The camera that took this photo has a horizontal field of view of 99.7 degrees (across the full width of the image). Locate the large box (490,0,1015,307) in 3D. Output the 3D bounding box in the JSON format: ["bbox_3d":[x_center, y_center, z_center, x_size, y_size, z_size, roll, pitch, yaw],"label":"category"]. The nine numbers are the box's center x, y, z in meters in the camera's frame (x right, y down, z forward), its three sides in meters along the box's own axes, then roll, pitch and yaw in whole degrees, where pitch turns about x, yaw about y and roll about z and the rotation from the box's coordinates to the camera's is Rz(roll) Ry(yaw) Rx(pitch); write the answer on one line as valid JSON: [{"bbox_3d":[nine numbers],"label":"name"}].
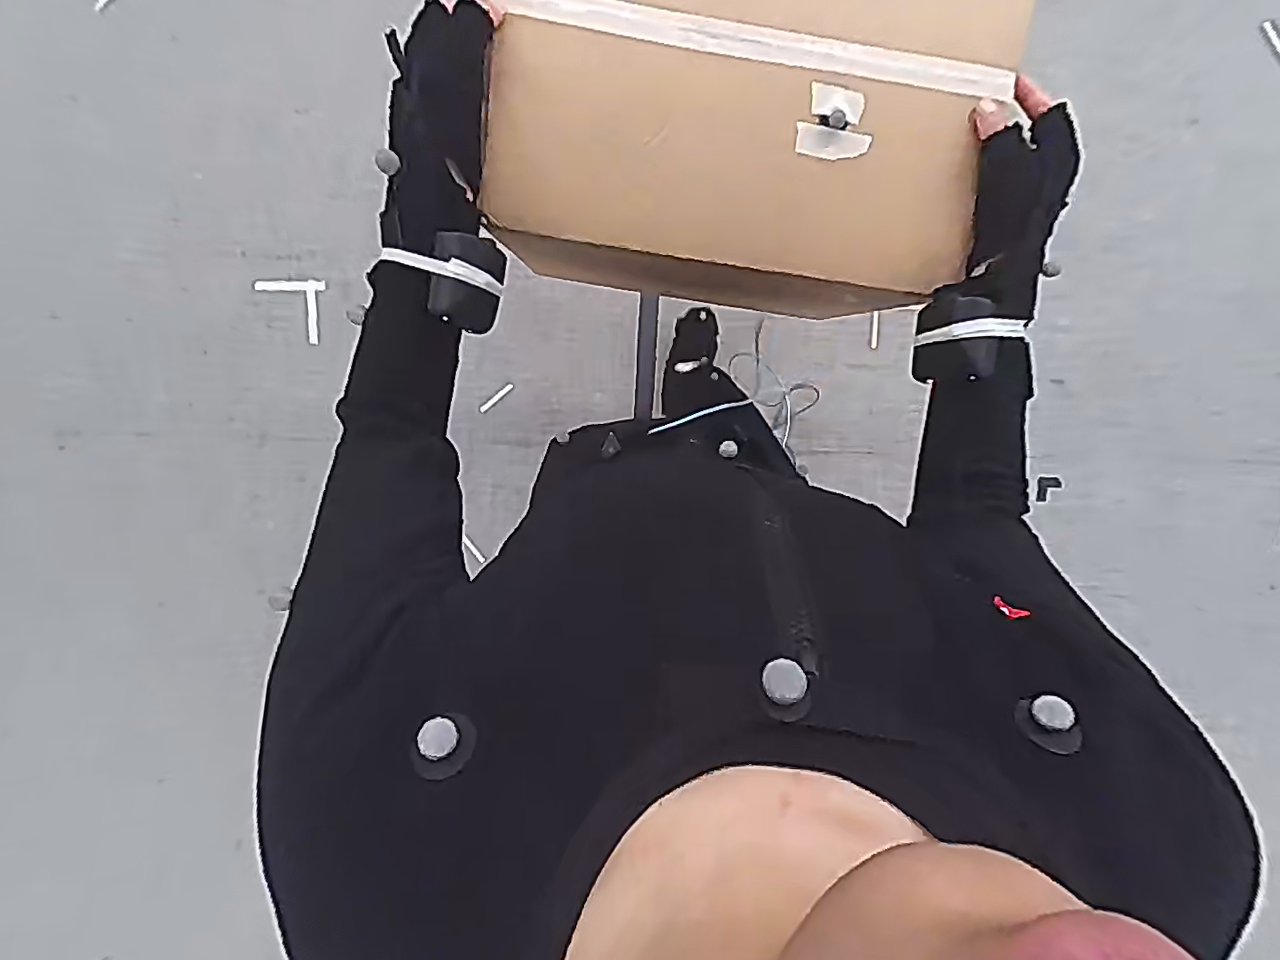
[{"bbox_3d":[0.081,-0.376,0.570,0.408,0.320,0.320,7,104,-5],"label":"large box"}]
